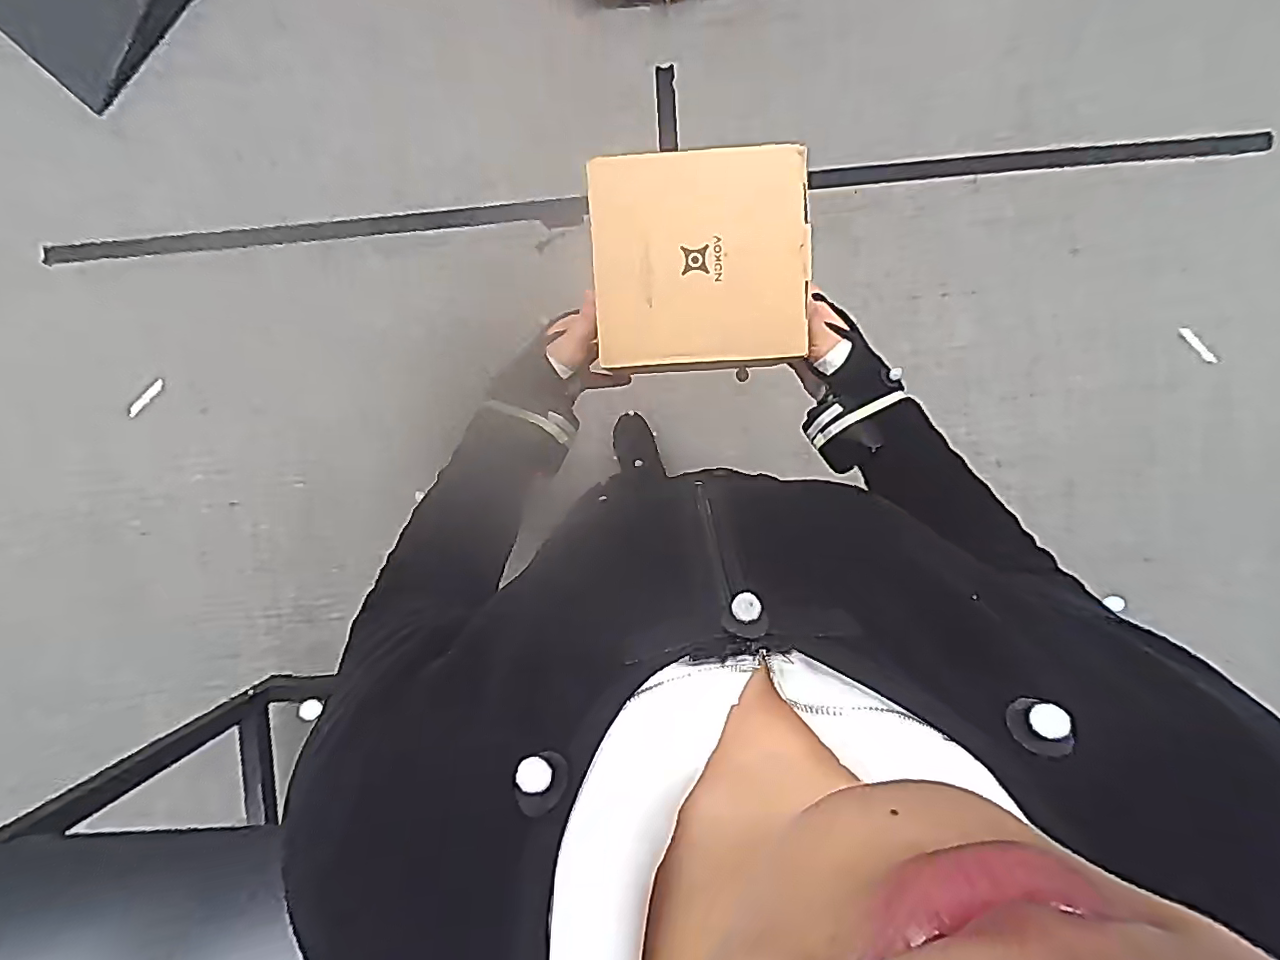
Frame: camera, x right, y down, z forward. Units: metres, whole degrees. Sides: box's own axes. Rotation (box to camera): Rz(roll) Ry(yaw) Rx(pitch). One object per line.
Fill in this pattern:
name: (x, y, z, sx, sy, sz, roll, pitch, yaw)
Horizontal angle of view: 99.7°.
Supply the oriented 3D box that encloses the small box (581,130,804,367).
small box: (0.046, -0.199, 0.513, 0.179, 0.176, 0.168, -3, 98, 4)
